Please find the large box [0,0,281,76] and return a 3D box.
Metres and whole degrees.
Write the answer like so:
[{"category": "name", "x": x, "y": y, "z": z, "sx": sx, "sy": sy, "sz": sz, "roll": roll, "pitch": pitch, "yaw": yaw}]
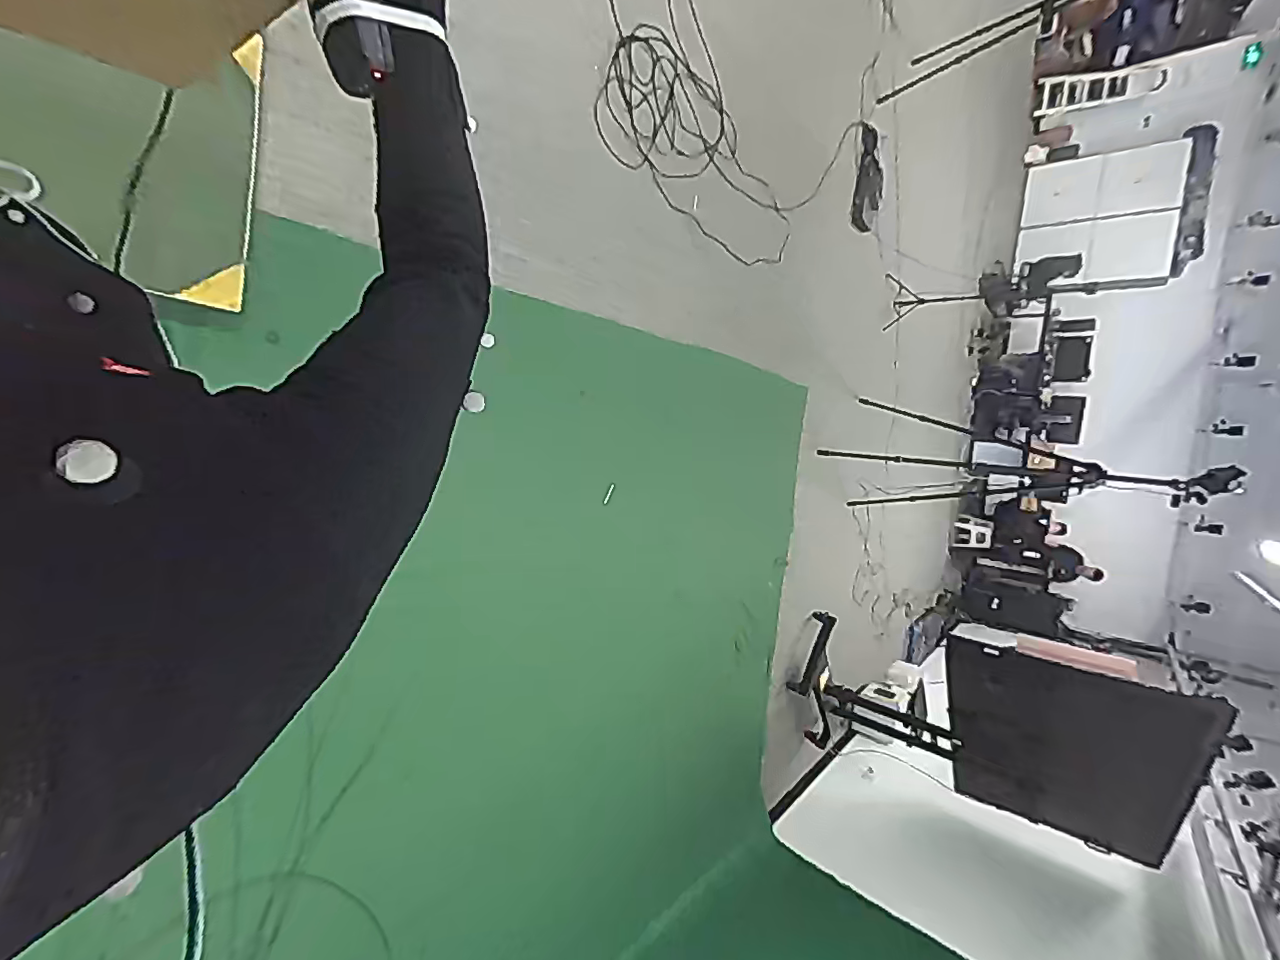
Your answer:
[{"category": "large box", "x": -0.450, "y": -0.485, "z": 0.266, "sx": 0.408, "sy": 0.320, "sz": 0.320, "roll": -11, "pitch": 113, "yaw": -50}]
